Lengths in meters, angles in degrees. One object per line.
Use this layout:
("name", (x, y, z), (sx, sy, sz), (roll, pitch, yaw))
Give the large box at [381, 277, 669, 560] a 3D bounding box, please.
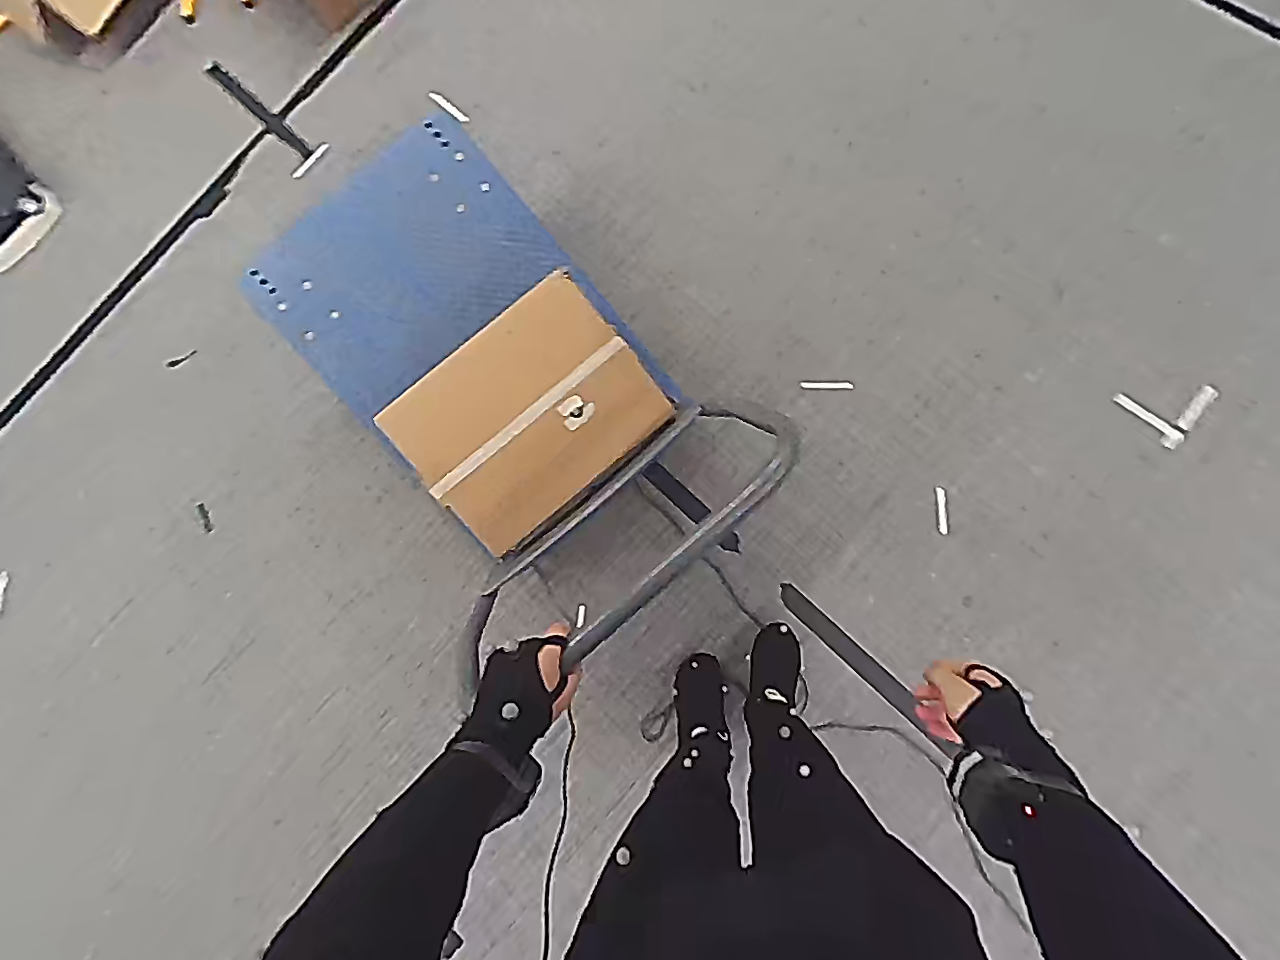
("large box", (-0.208, -0.110, 1.071), (0.408, 0.320, 0.320), (-41, 98, -2))
